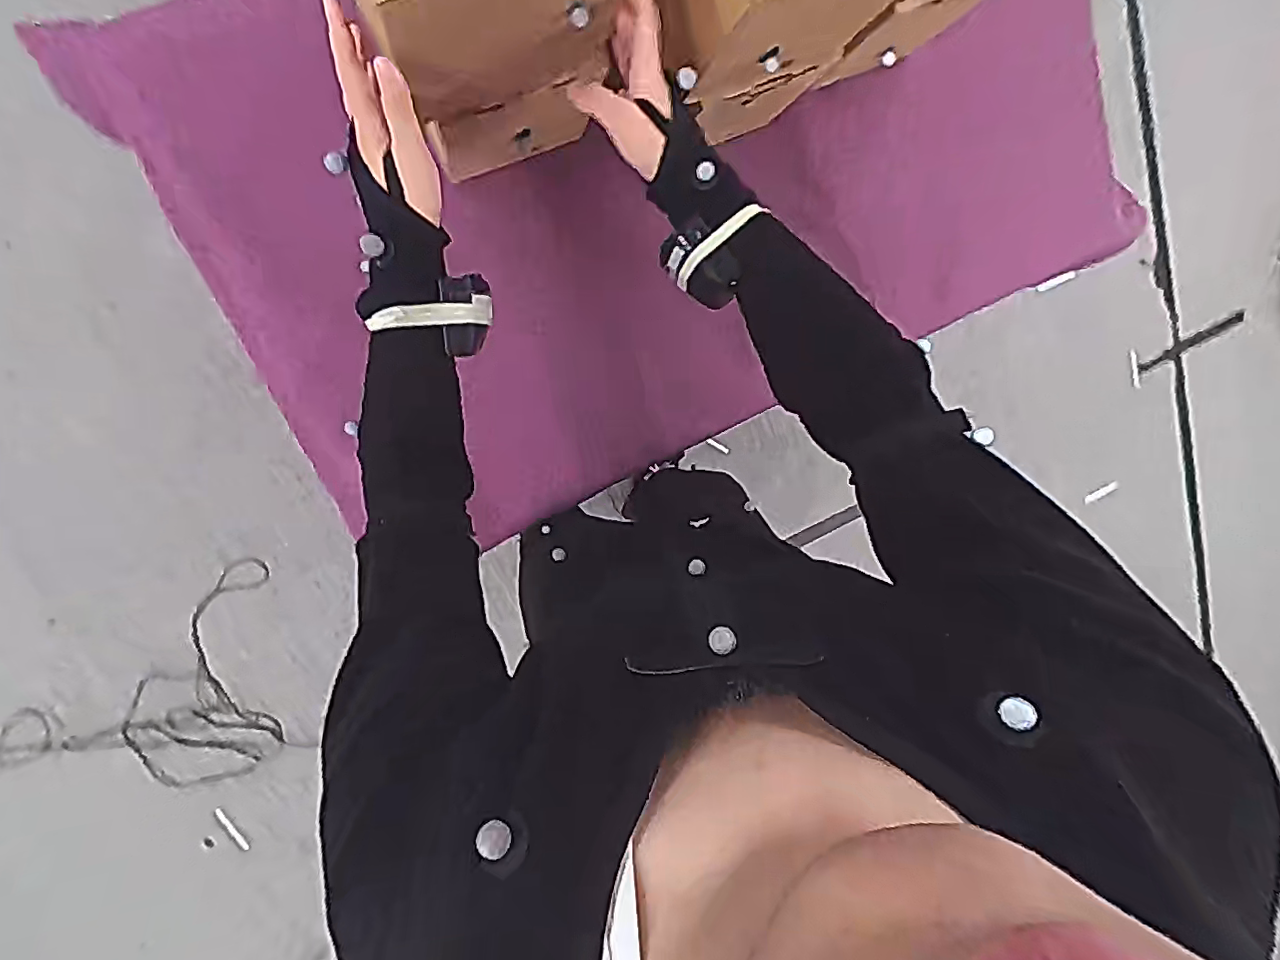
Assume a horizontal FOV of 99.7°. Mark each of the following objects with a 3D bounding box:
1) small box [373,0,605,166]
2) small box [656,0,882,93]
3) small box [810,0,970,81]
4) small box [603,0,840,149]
[{"bbox_3d":[-0.152,-0.433,0.524,0.168,0.176,0.179,-26,108,-8],"label":"small box"},{"bbox_3d":[0.104,-0.451,0.420,0.168,0.176,0.179,-24,108,-9],"label":"small box"},{"bbox_3d":[0.275,-0.602,0.606,0.168,0.176,0.179,-25,108,-8],"label":"small box"},{"bbox_3d":[0.077,-0.485,0.577,0.168,0.176,0.179,-26,107,-9],"label":"small box"}]
